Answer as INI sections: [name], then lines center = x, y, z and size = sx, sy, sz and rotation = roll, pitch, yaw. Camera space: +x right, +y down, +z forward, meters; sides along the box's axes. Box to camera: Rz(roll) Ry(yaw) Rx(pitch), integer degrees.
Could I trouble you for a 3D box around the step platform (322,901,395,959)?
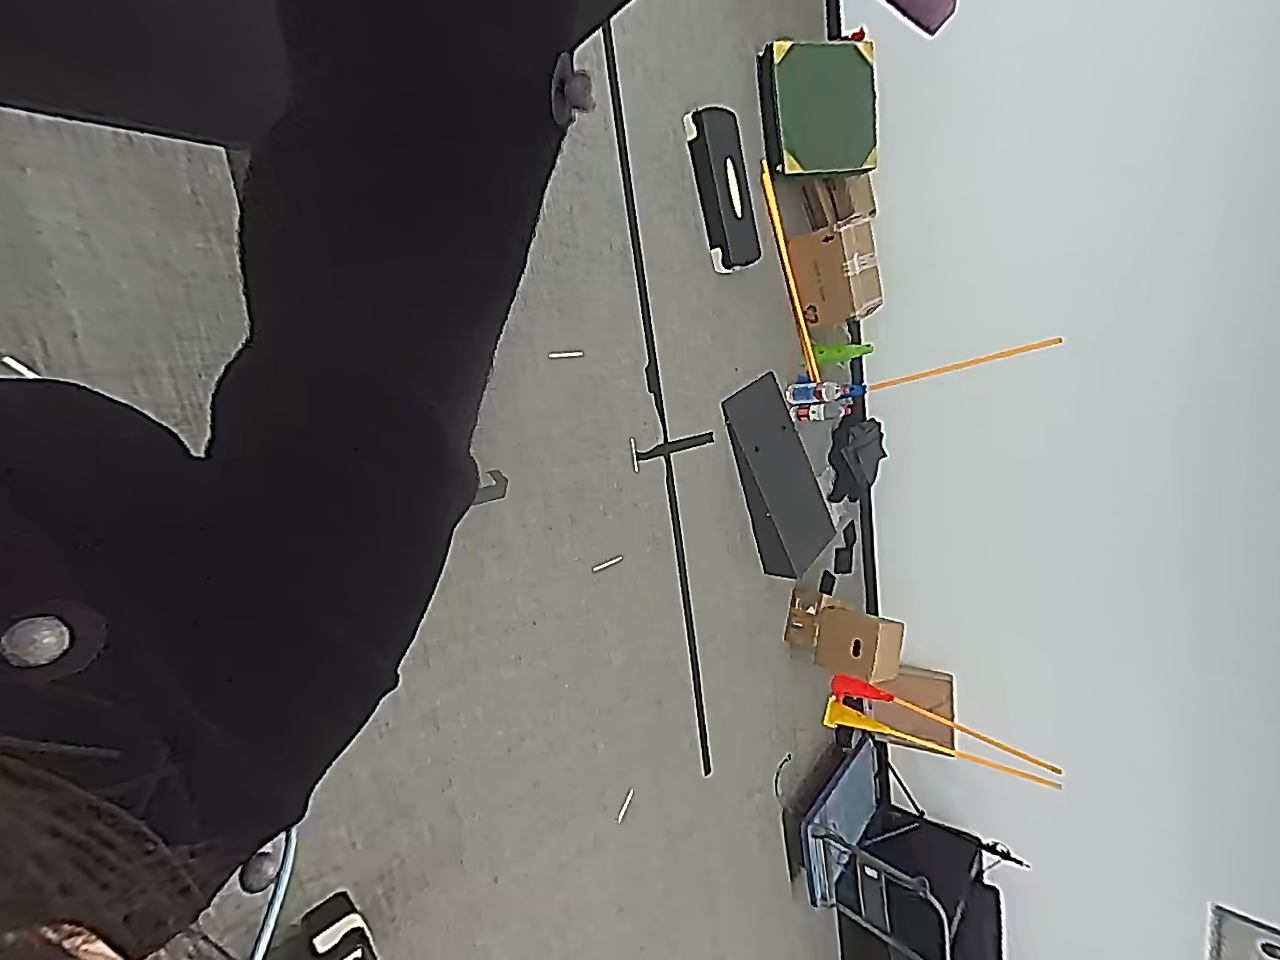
[step platform]
center = -0.895, 1.296, 1.182
size = 0.684, 0.204, 0.286
rotation = -9, 98, -46
